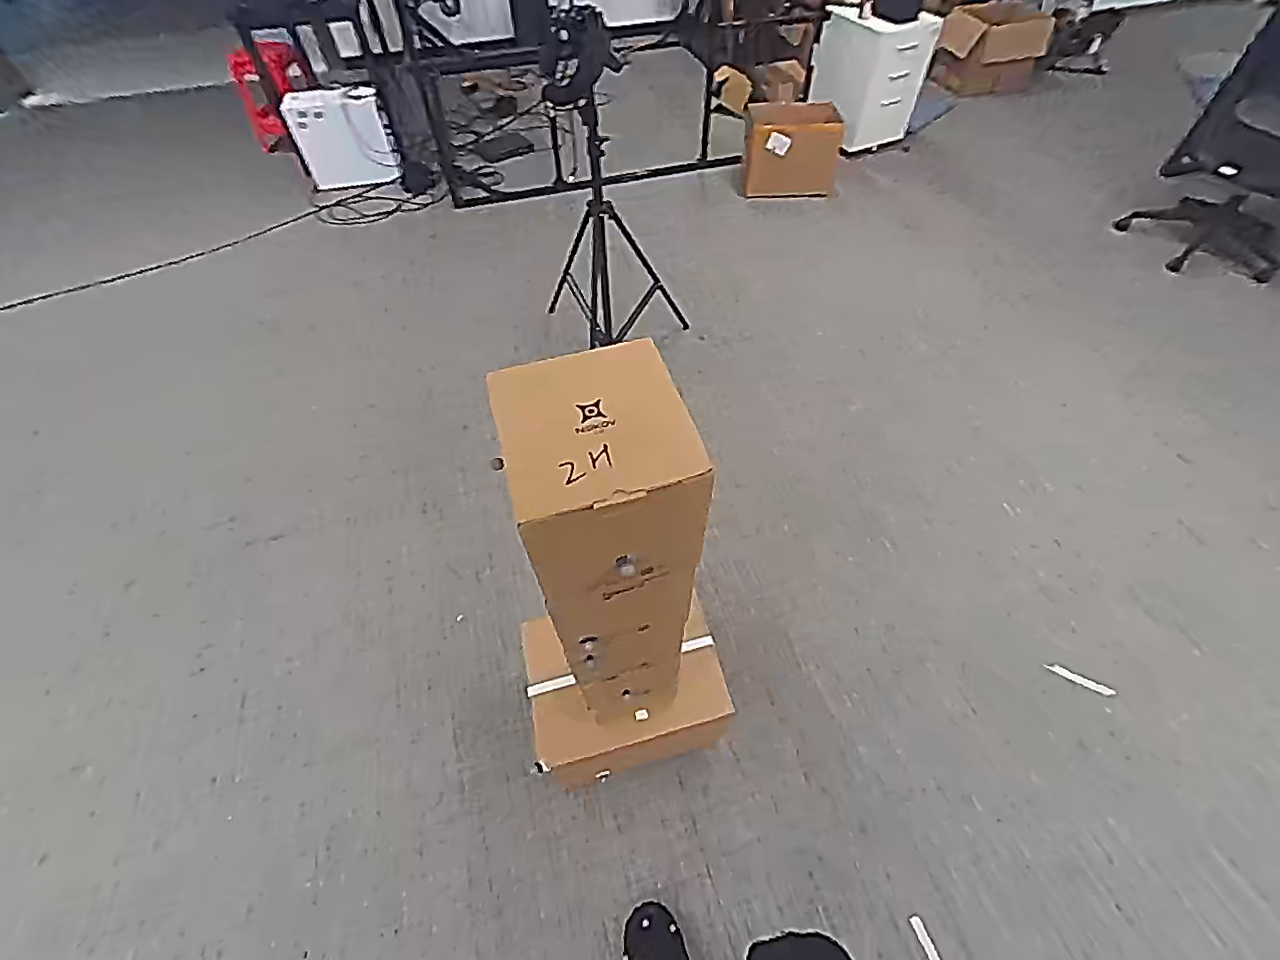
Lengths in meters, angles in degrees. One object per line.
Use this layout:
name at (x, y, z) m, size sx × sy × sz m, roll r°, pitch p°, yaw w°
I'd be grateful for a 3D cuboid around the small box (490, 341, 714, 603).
small box at (-0.040, -0.005, 0.540) m, size 0.168 × 0.176 × 0.179 m, roll -15°, pitch 57°, yaw -9°

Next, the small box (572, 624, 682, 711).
small box at (-0.034, 0.277, 0.944) m, size 0.168 × 0.176 × 0.179 m, roll -15°, pitch 56°, yaw -9°

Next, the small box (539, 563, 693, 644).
small box at (-0.038, 0.089, 0.675) m, size 0.168 × 0.176 × 0.179 m, roll -13°, pitch 55°, yaw -8°

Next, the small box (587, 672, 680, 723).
small box at (-0.030, 0.365, 1.081) m, size 0.179 × 0.176 × 0.168 m, roll -15°, pitch 56°, yaw -10°
